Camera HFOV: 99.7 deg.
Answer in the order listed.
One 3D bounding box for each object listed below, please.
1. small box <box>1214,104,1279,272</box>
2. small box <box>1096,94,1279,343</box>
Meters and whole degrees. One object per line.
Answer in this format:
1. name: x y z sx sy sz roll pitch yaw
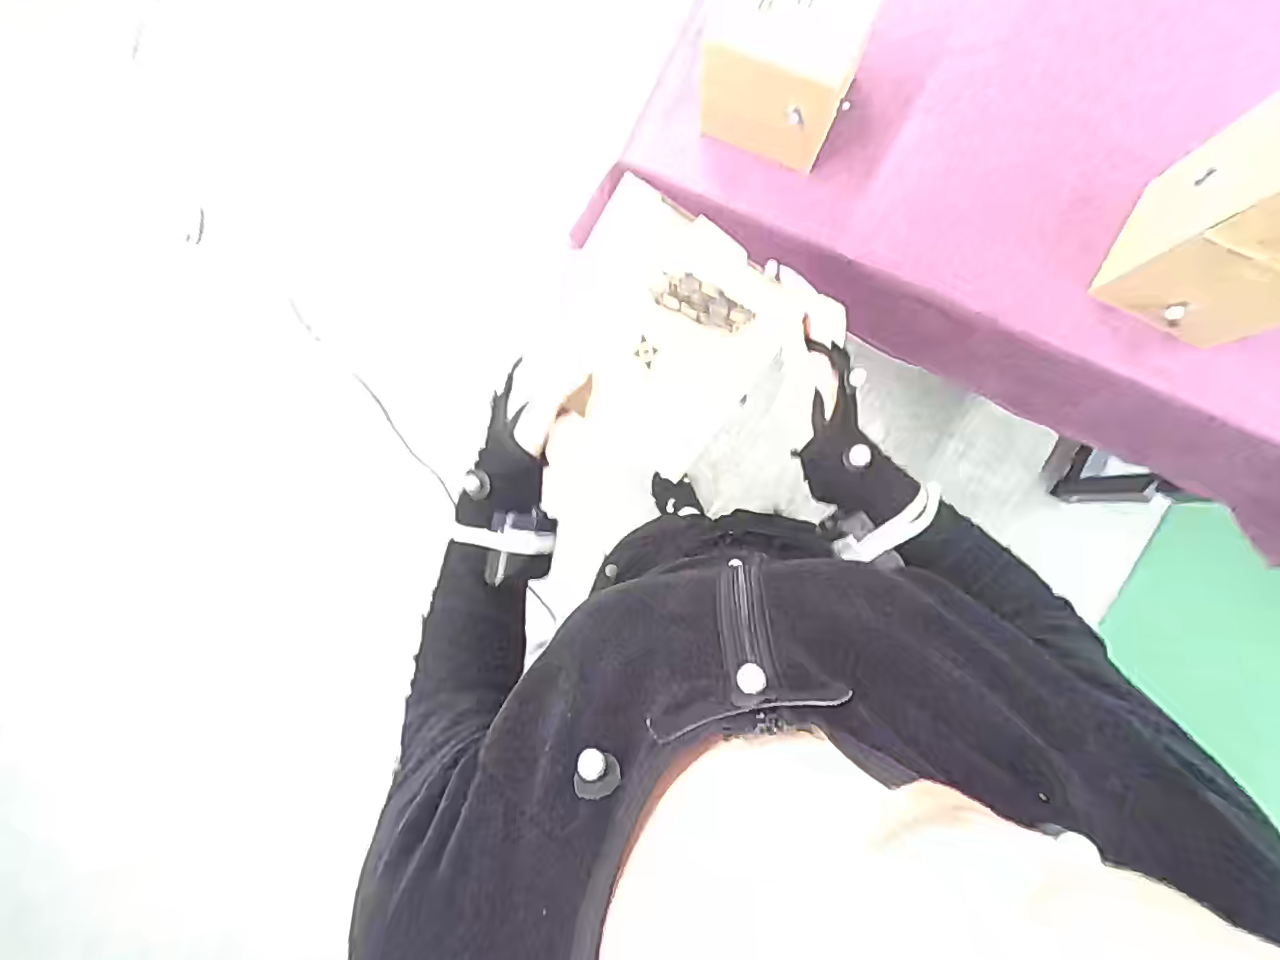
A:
1. small box: 0.696 -0.297 0.481 0.168 0.176 0.179 29 91 6
2. small box: 0.708 -0.293 0.644 0.168 0.176 0.179 29 91 6
